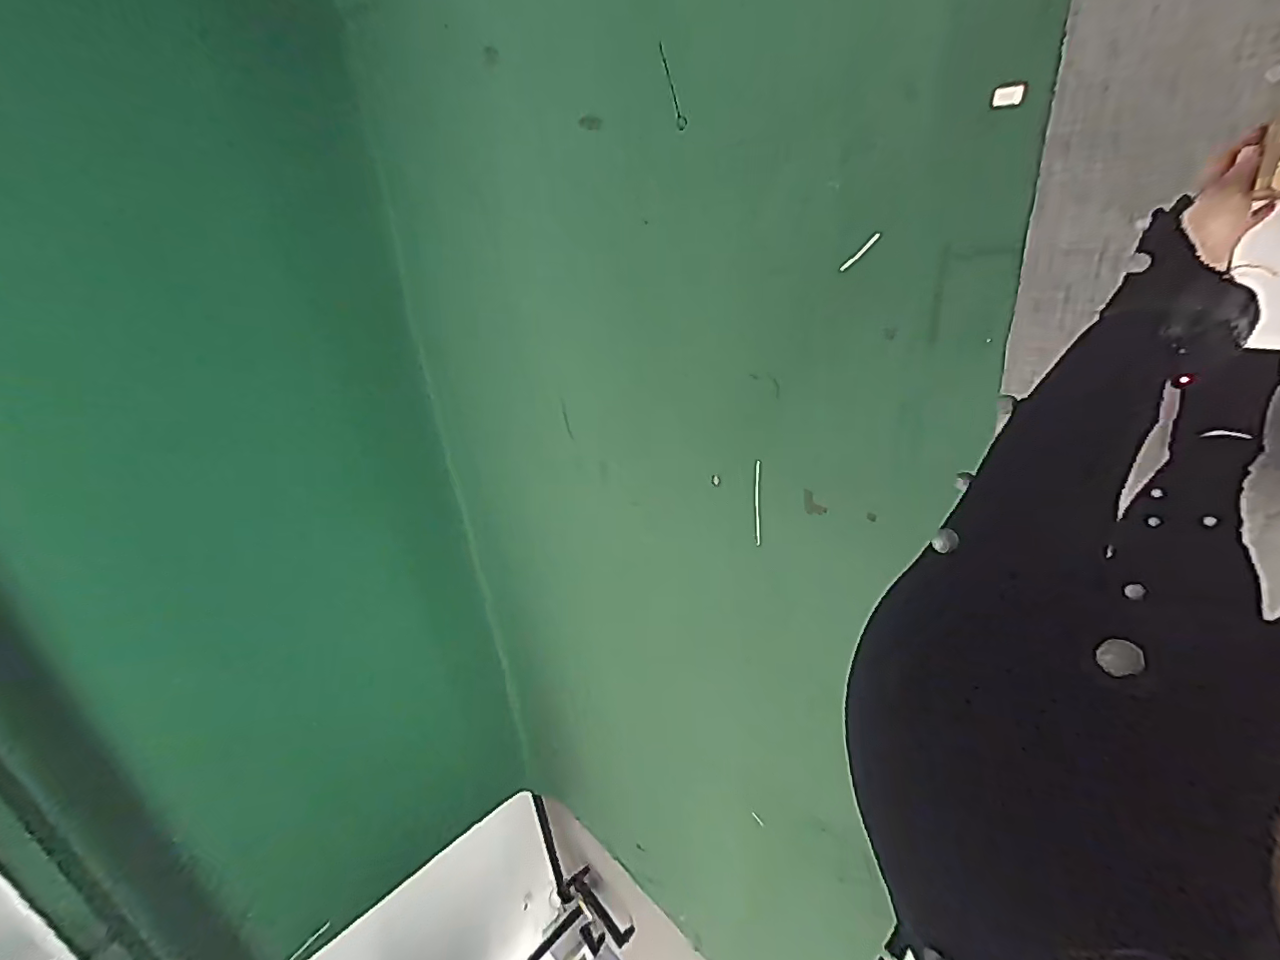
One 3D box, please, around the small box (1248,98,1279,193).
[{"bbox_3d":[0.535,-0.276,0.333,0.179,0.176,0.168,21,121,36],"label":"small box"}]
